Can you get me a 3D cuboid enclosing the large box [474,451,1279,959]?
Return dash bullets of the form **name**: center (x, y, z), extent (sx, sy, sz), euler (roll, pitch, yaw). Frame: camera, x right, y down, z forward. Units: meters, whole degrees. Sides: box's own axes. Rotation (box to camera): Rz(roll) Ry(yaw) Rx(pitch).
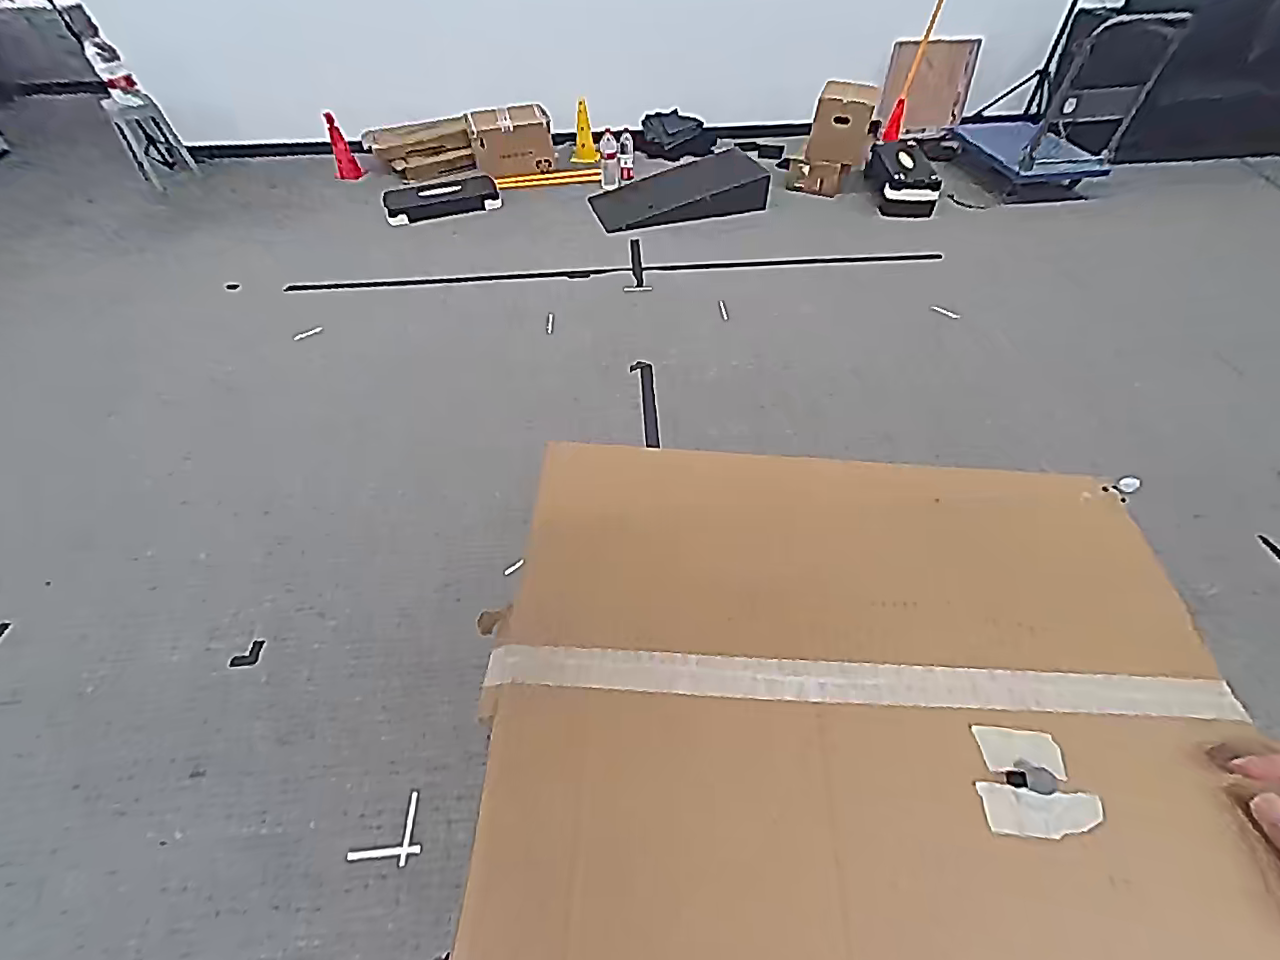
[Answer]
- **large box**: center (0.117, 0.199, 0.430), extent (0.408, 0.320, 0.320), euler (4, 55, -2)
